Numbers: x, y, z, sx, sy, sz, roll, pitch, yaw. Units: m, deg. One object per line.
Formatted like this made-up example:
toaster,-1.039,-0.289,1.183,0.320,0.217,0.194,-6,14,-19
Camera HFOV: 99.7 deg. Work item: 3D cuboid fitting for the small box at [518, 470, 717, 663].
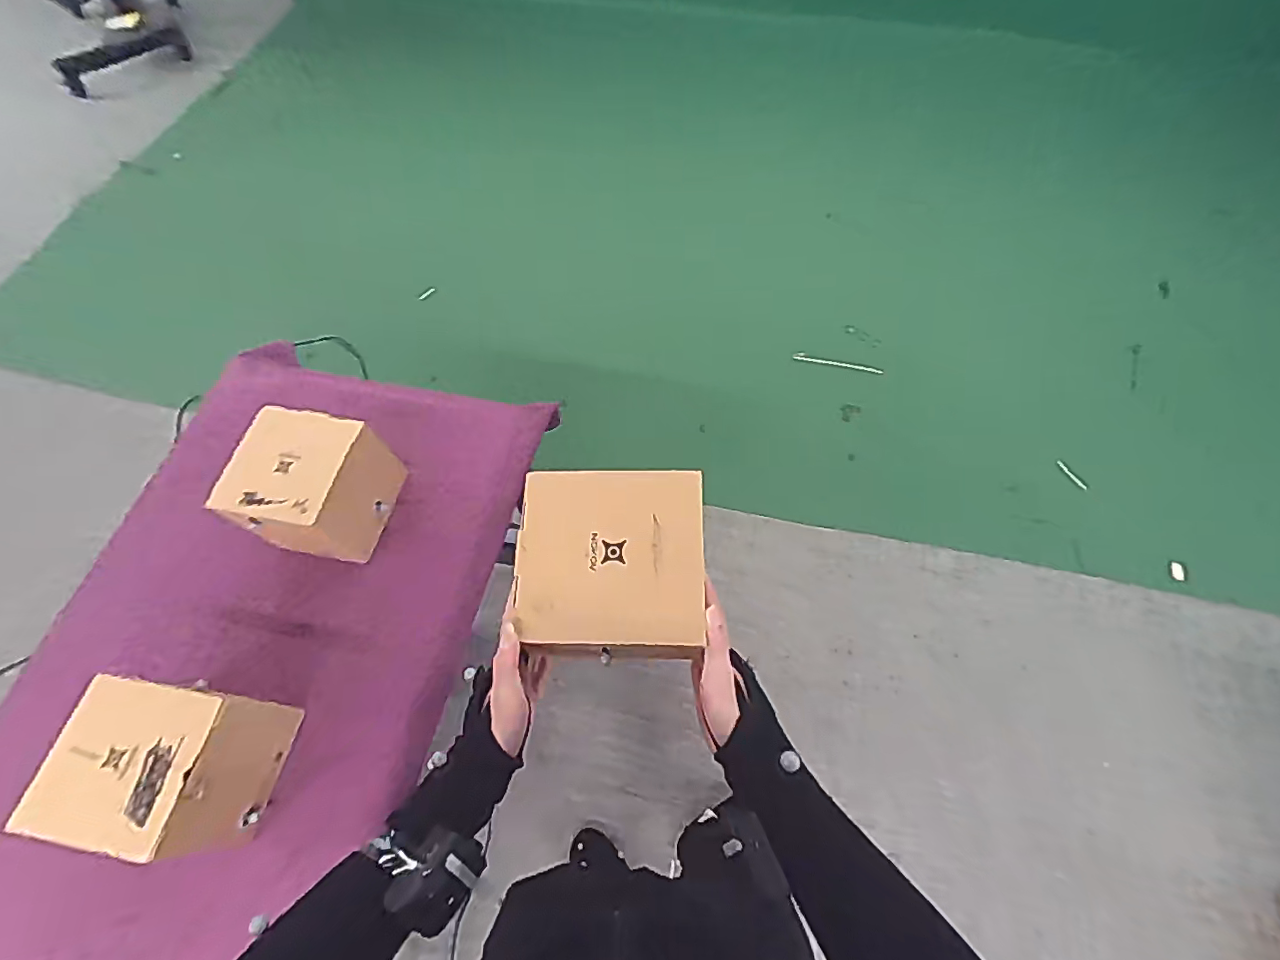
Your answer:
small box,-0.013,0.099,0.567,0.179,0.176,0.168,1,67,3

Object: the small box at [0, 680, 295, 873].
small box,-0.580,0.357,0.670,0.179,0.176,0.168,8,63,6

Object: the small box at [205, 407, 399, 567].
small box,-0.506,0.015,0.846,0.168,0.176,0.179,10,63,6
